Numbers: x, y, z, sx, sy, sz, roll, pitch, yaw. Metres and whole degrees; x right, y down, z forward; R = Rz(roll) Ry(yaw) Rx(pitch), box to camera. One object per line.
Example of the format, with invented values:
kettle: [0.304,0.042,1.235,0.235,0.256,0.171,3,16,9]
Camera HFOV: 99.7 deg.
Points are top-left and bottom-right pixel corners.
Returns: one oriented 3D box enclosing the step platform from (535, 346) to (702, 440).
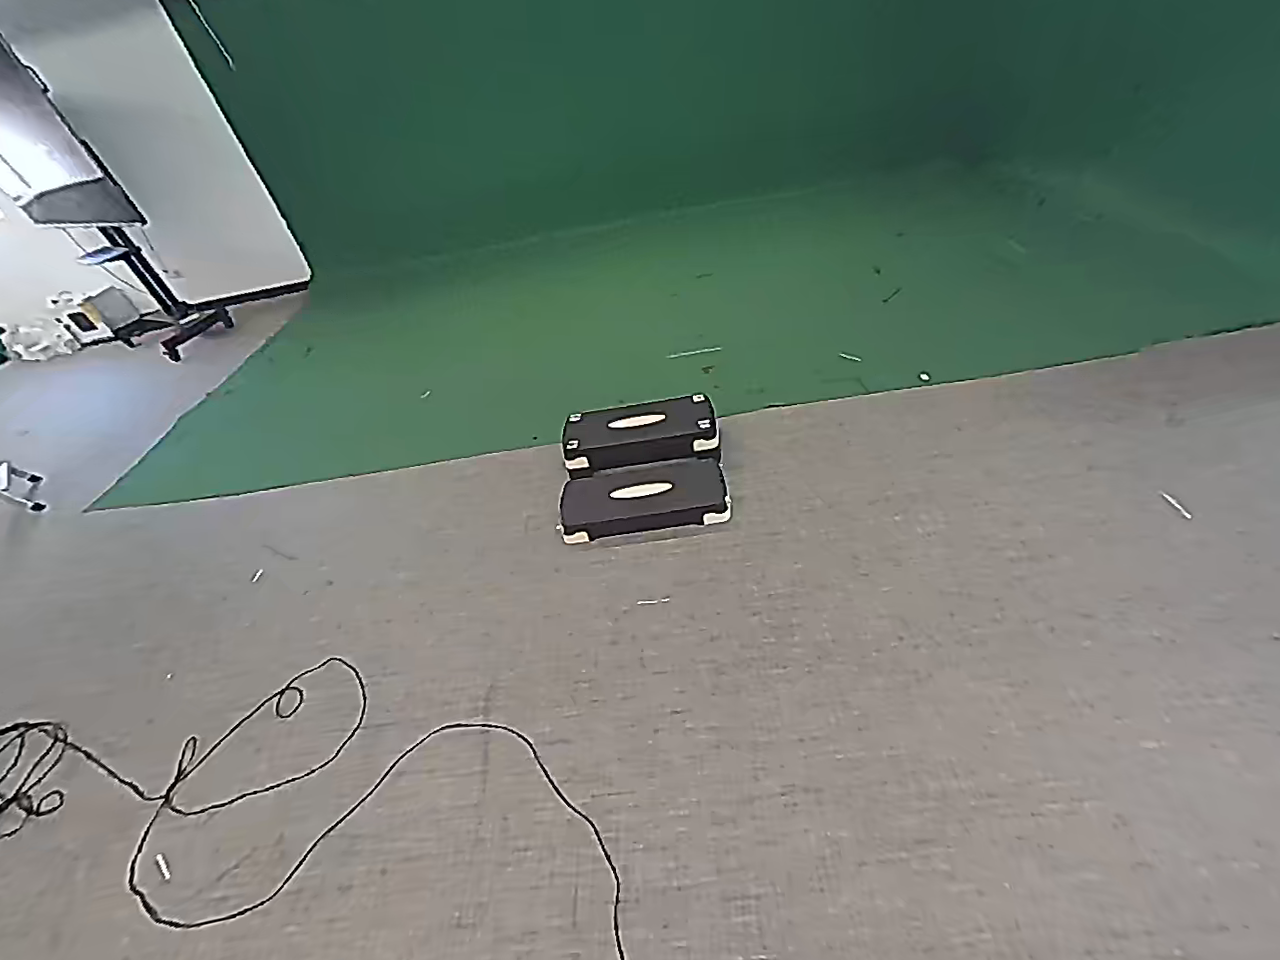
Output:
step platform: [-0.081,-0.365,2.274,0.684,0.204,0.286,-9,42,6]
